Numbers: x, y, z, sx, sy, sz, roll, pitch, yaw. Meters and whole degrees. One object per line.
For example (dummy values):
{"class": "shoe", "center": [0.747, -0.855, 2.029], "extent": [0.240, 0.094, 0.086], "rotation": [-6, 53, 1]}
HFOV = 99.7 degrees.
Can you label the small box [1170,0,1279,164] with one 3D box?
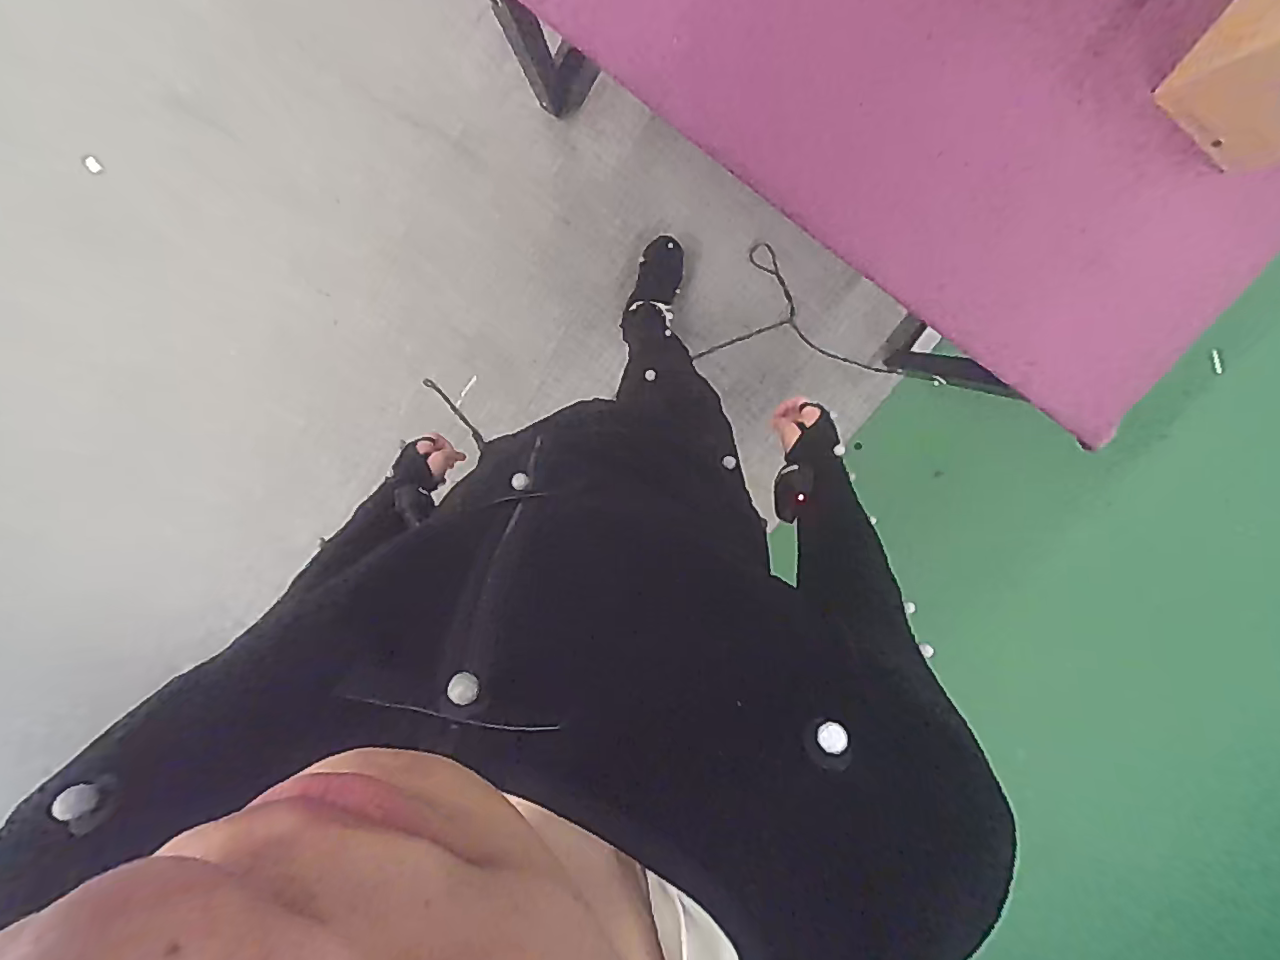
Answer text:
{"class": "small box", "center": [0.787, -0.505, 0.612], "extent": [0.168, 0.176, 0.179], "rotation": [34, 104, -7]}
